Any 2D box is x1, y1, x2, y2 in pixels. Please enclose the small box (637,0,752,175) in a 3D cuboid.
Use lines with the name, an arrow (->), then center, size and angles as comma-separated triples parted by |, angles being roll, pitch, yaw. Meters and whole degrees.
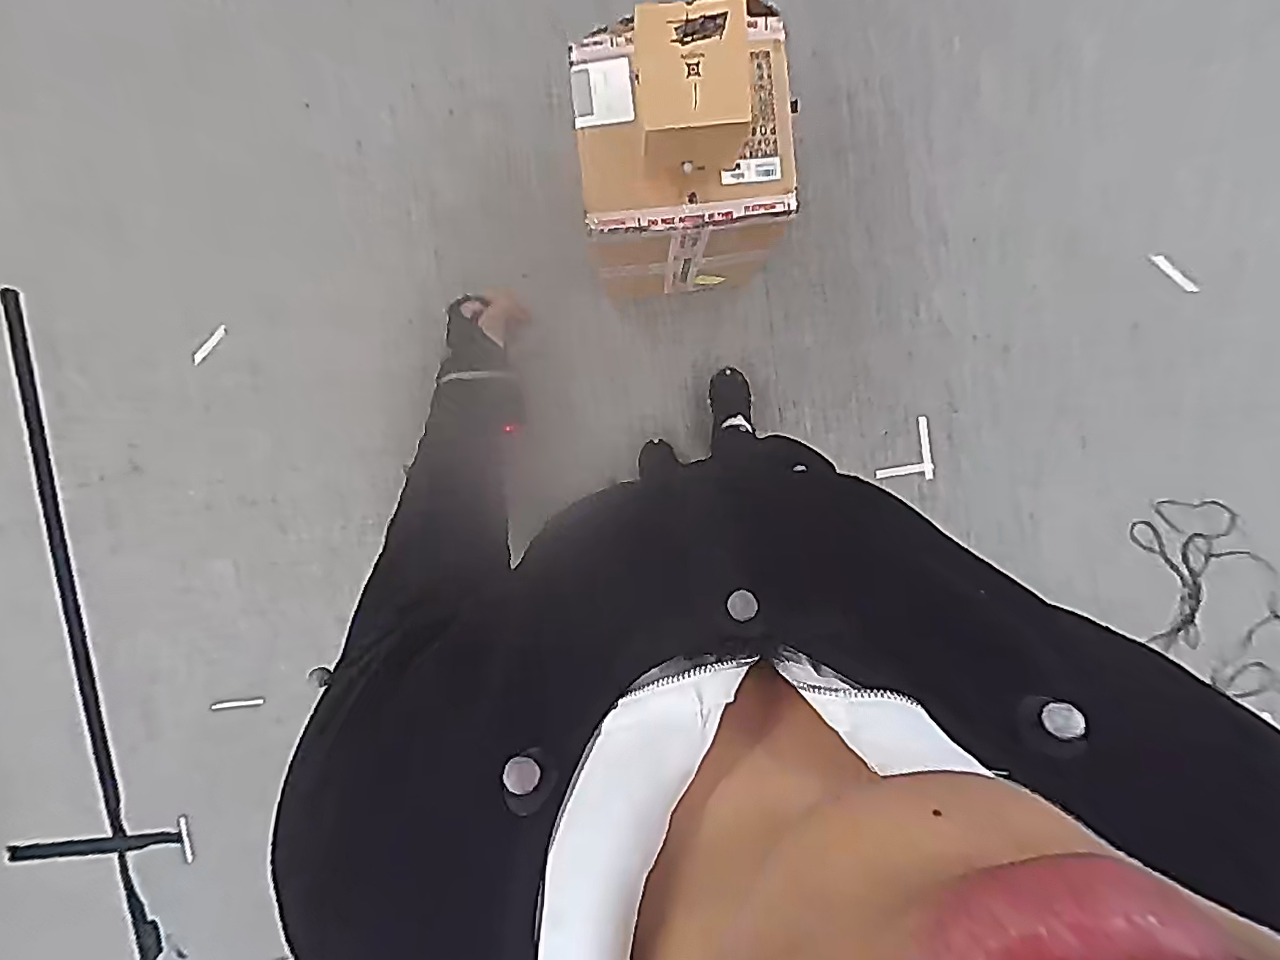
small box -> 0.081, -0.628, 0.879 | 0.168, 0.176, 0.179 | -4, 98, 1
